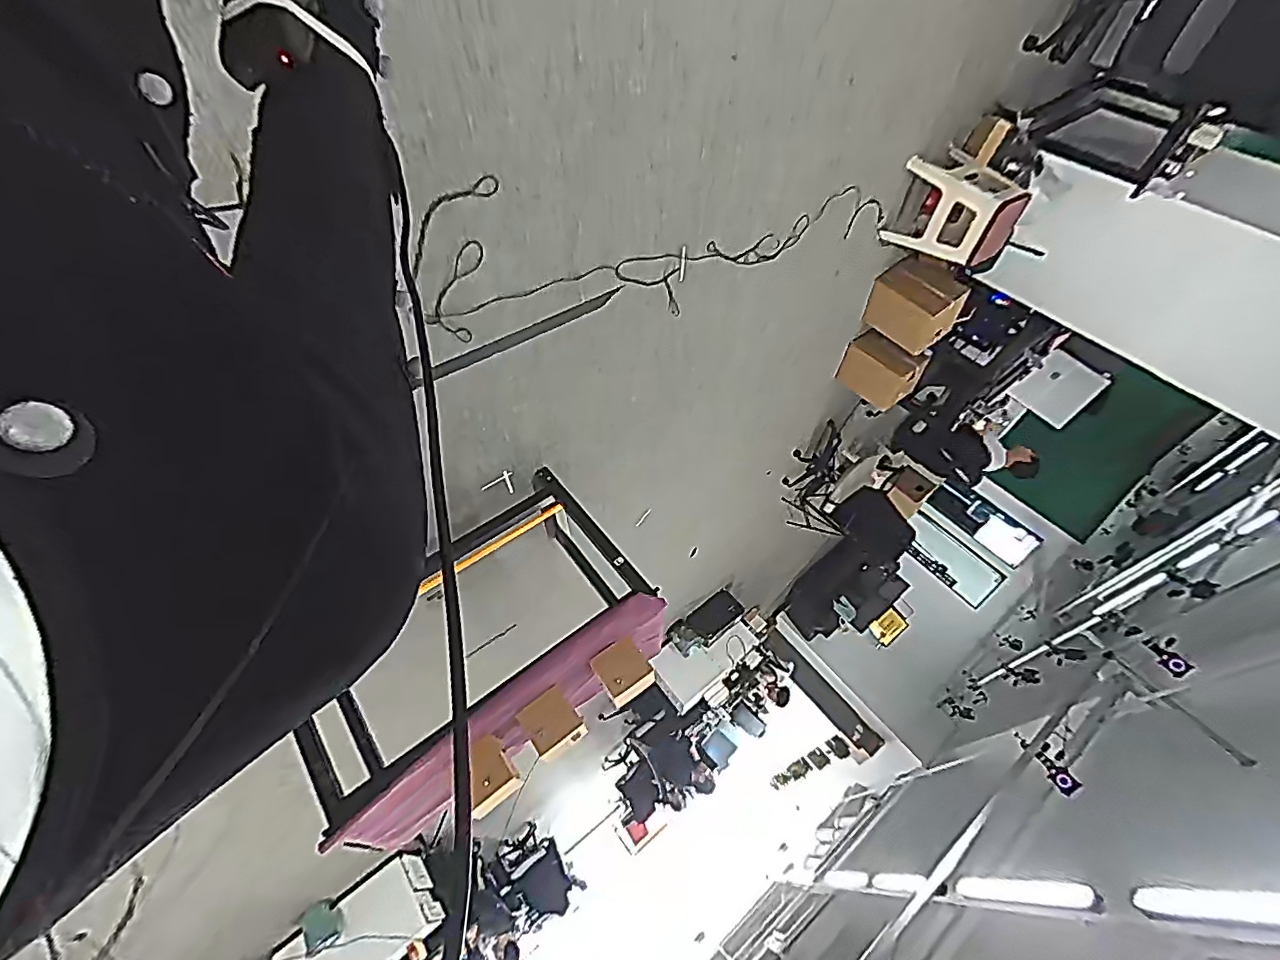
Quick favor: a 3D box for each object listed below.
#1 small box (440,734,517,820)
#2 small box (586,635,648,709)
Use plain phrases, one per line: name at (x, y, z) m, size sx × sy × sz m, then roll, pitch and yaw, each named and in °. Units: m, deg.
small box at (-0.539, 0.983, 1.789) m, size 0.179 × 0.176 × 0.168 m, roll -34°, pitch 151°, yaw -20°
small box at (-0.089, 0.709, 2.005) m, size 0.179 × 0.176 × 0.168 m, roll -31°, pitch 151°, yaw -18°
